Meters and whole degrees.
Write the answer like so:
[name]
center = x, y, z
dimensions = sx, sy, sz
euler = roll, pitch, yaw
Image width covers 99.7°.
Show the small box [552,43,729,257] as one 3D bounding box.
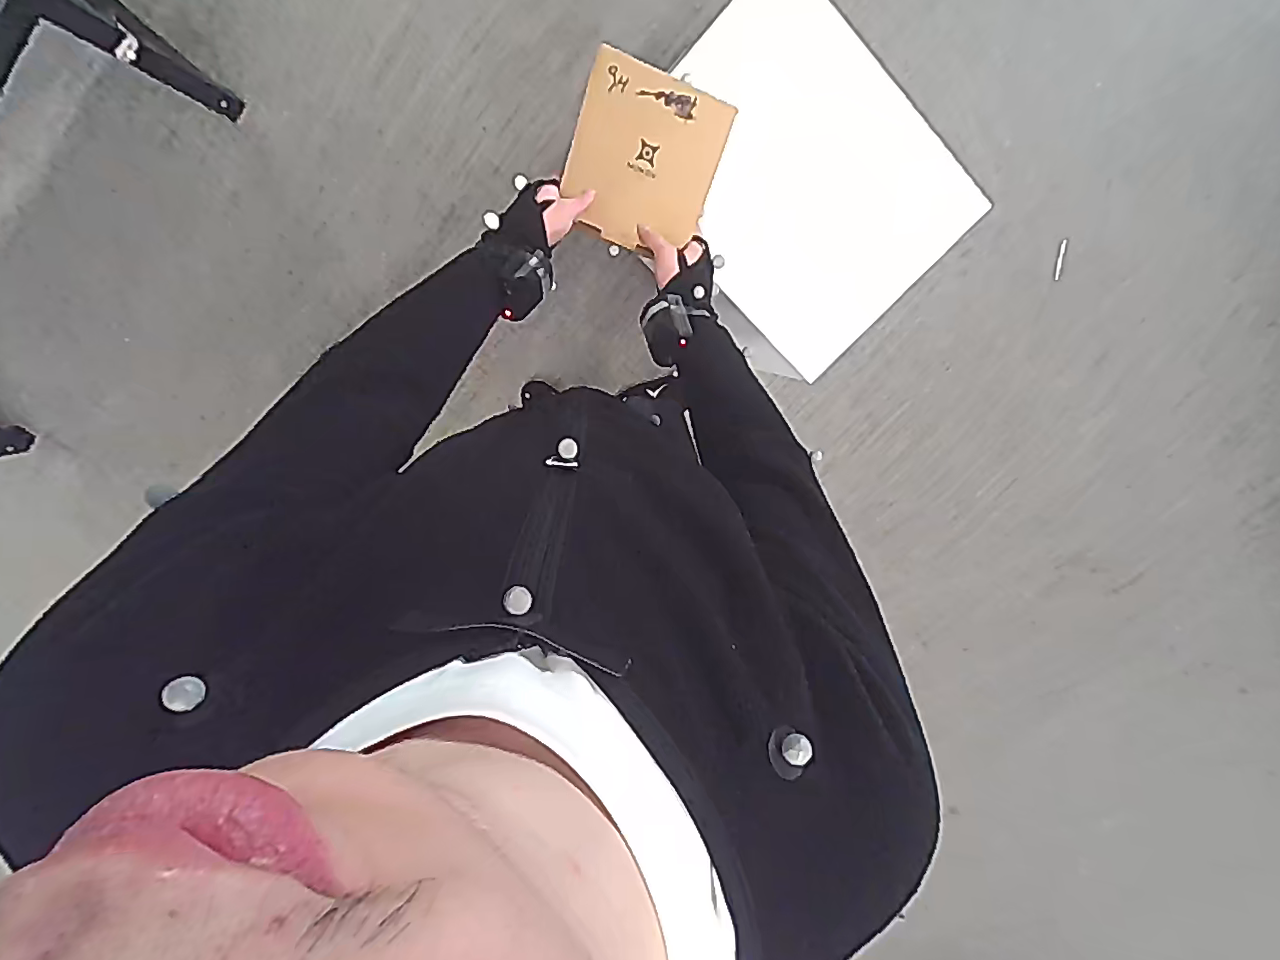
[small box]
center = -0.005, -0.398, 0.692
dimensions = 0.168, 0.176, 0.179
euler = 15, 109, -10
